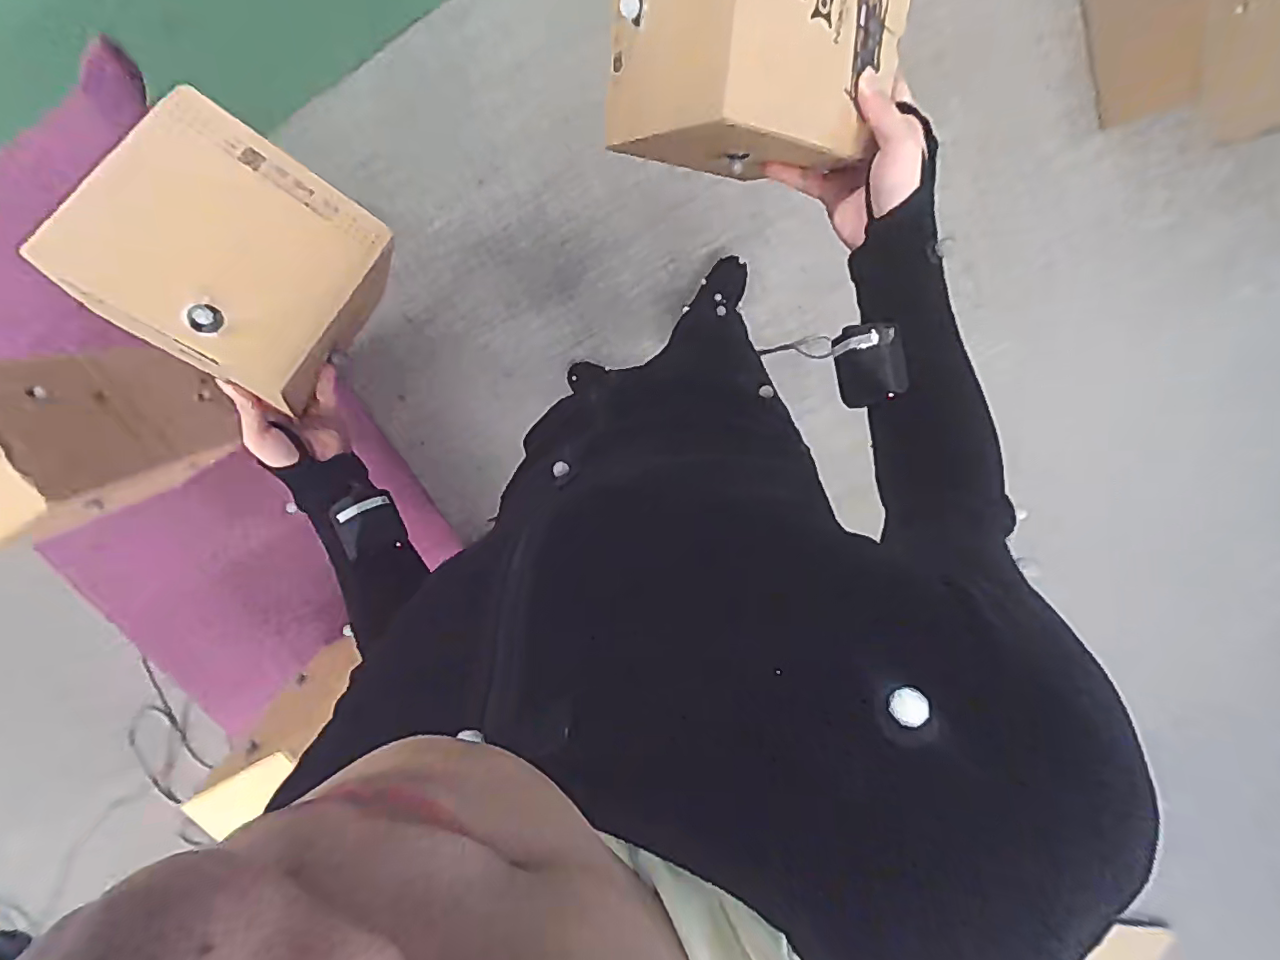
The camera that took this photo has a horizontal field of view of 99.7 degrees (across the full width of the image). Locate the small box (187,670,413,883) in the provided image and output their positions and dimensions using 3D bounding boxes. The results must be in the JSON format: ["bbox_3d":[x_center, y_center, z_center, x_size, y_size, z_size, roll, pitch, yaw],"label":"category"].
[{"bbox_3d":[-0.466,0.413,0.773,0.179,0.176,0.168,-31,105,9],"label":"small box"}]

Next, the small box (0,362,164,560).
[{"bbox_3d":[-0.722,-0.023,0.632,0.179,0.176,0.168,-30,105,9],"label":"small box"}]

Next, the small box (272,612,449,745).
[{"bbox_3d":[-0.464,0.363,0.928,0.179,0.176,0.168,-30,106,9],"label":"small box"}]

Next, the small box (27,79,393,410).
[{"bbox_3d":[-0.341,-0.185,0.477,0.168,0.179,0.176,33,74,-23],"label":"small box"}]

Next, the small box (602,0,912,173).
[{"bbox_3d":[0.090,-0.359,0.437,0.179,0.176,0.168,-7,114,-31],"label":"small box"}]
